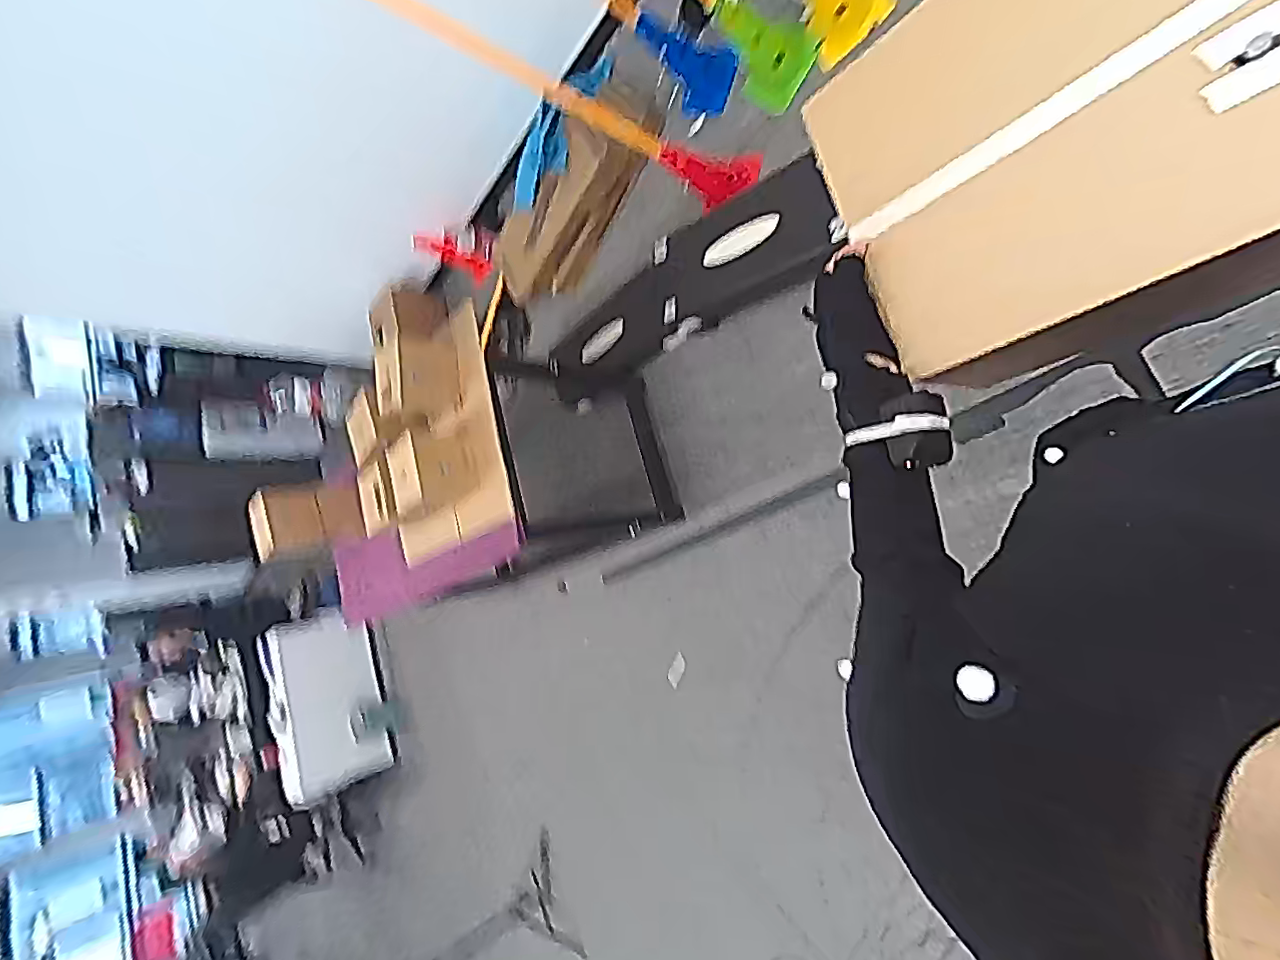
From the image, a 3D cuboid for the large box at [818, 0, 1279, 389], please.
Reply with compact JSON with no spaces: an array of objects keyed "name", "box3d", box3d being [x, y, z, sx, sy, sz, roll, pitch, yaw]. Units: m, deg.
[{"name":"large box","box3d":[0.464,-0.315,0.532,0.408,0.320,0.320,-24,79,42]}]
